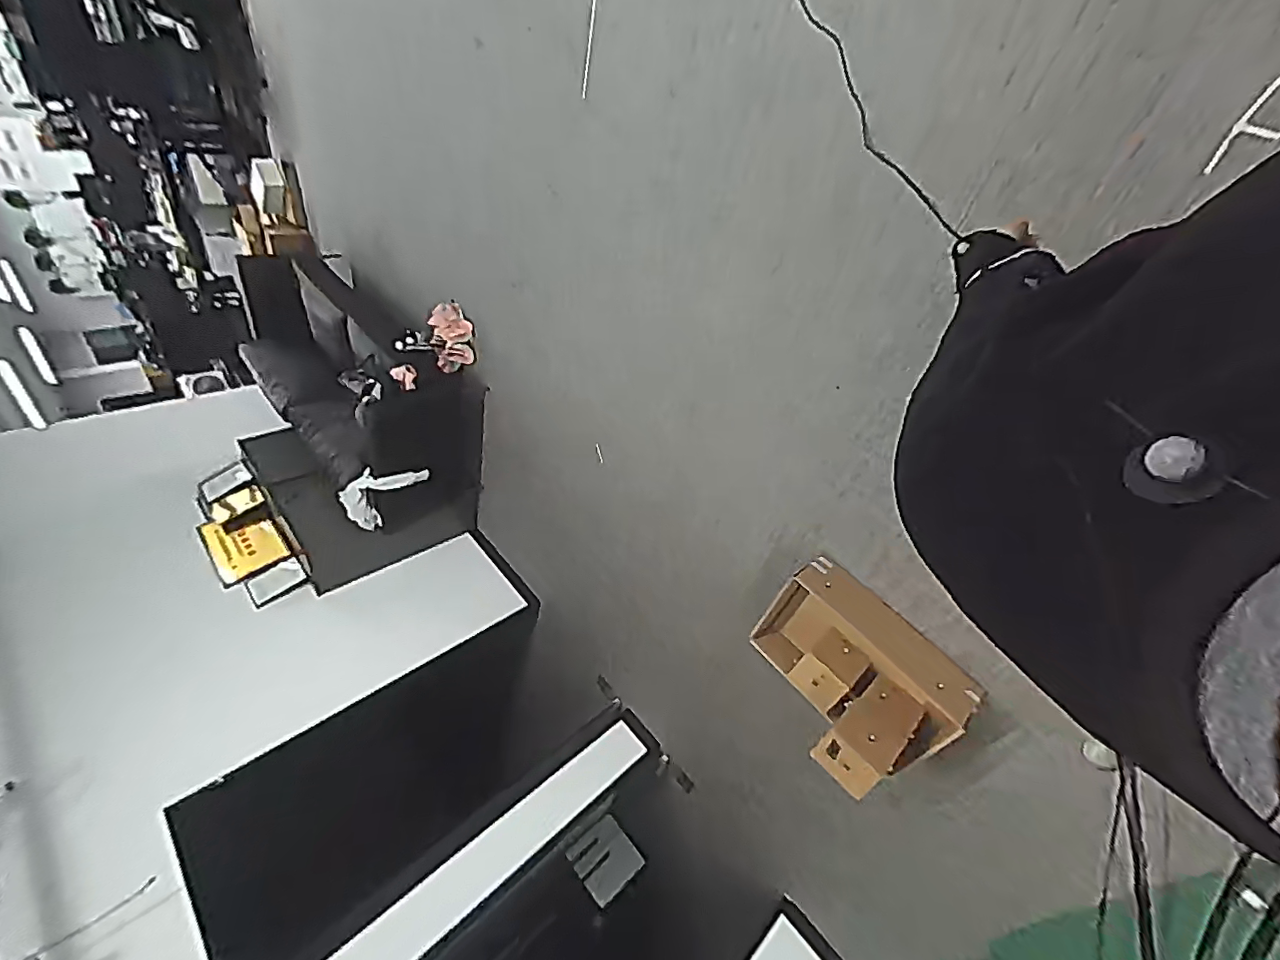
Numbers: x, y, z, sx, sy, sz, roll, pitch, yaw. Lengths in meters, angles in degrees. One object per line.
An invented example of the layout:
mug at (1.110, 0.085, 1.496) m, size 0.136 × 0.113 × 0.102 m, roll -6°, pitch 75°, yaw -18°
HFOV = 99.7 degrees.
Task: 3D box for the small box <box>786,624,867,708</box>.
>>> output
small box at (0.638, 0.629, 1.837) m, size 0.168 × 0.176 × 0.179 m, roll 43°, pitch 136°, yaw 25°

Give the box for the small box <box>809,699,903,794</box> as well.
small box at (0.654, 0.796, 1.638) m, size 0.179 × 0.176 × 0.168 m, roll 41°, pitch 134°, yaw 29°
